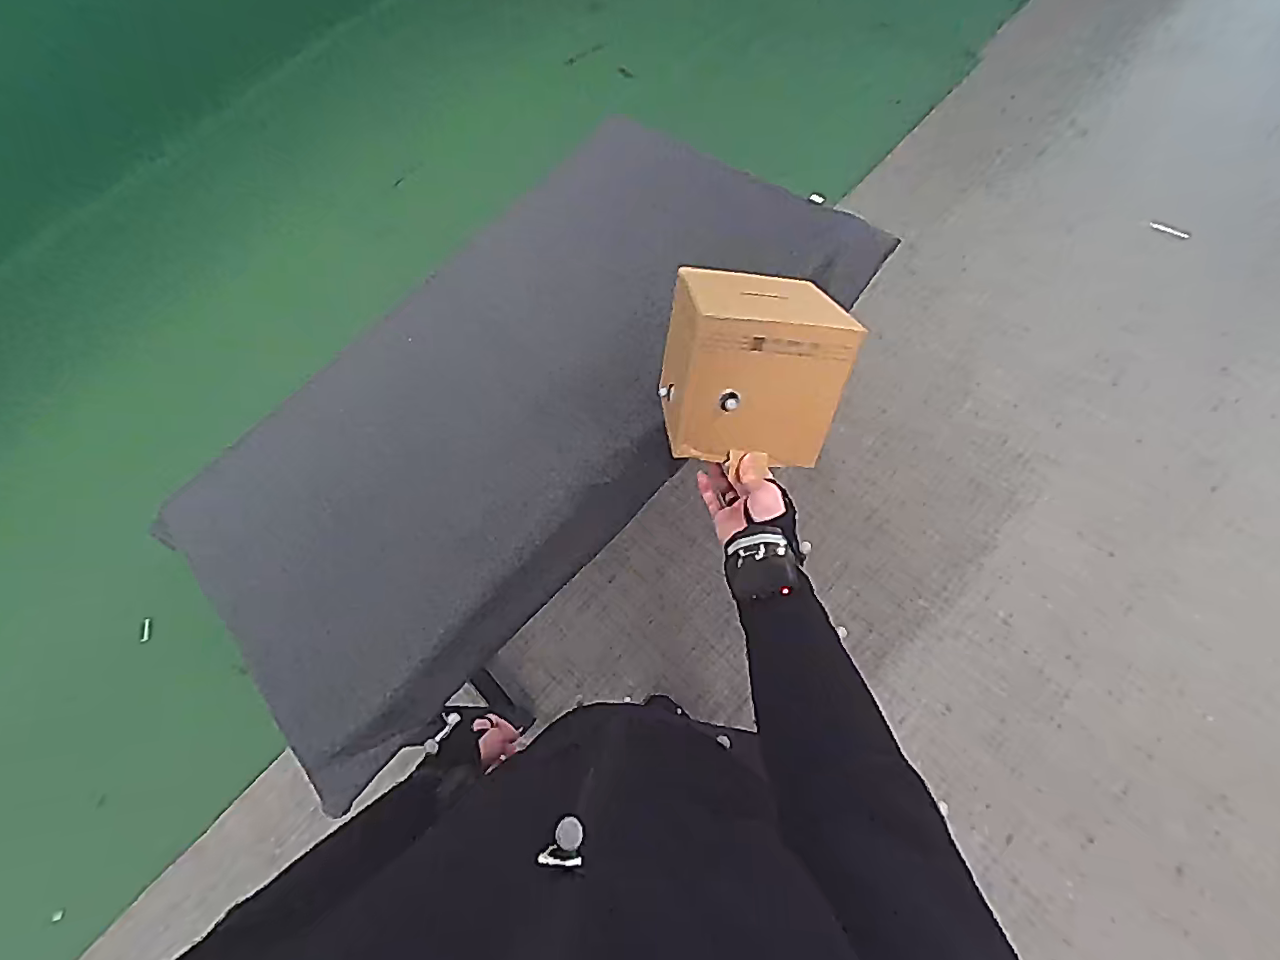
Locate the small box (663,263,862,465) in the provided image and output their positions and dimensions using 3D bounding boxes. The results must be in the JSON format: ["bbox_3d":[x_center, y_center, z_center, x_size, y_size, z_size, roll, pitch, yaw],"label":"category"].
[{"bbox_3d":[0.132,-0.140,0.633,0.168,0.176,0.179,7,36,-10],"label":"small box"}]
